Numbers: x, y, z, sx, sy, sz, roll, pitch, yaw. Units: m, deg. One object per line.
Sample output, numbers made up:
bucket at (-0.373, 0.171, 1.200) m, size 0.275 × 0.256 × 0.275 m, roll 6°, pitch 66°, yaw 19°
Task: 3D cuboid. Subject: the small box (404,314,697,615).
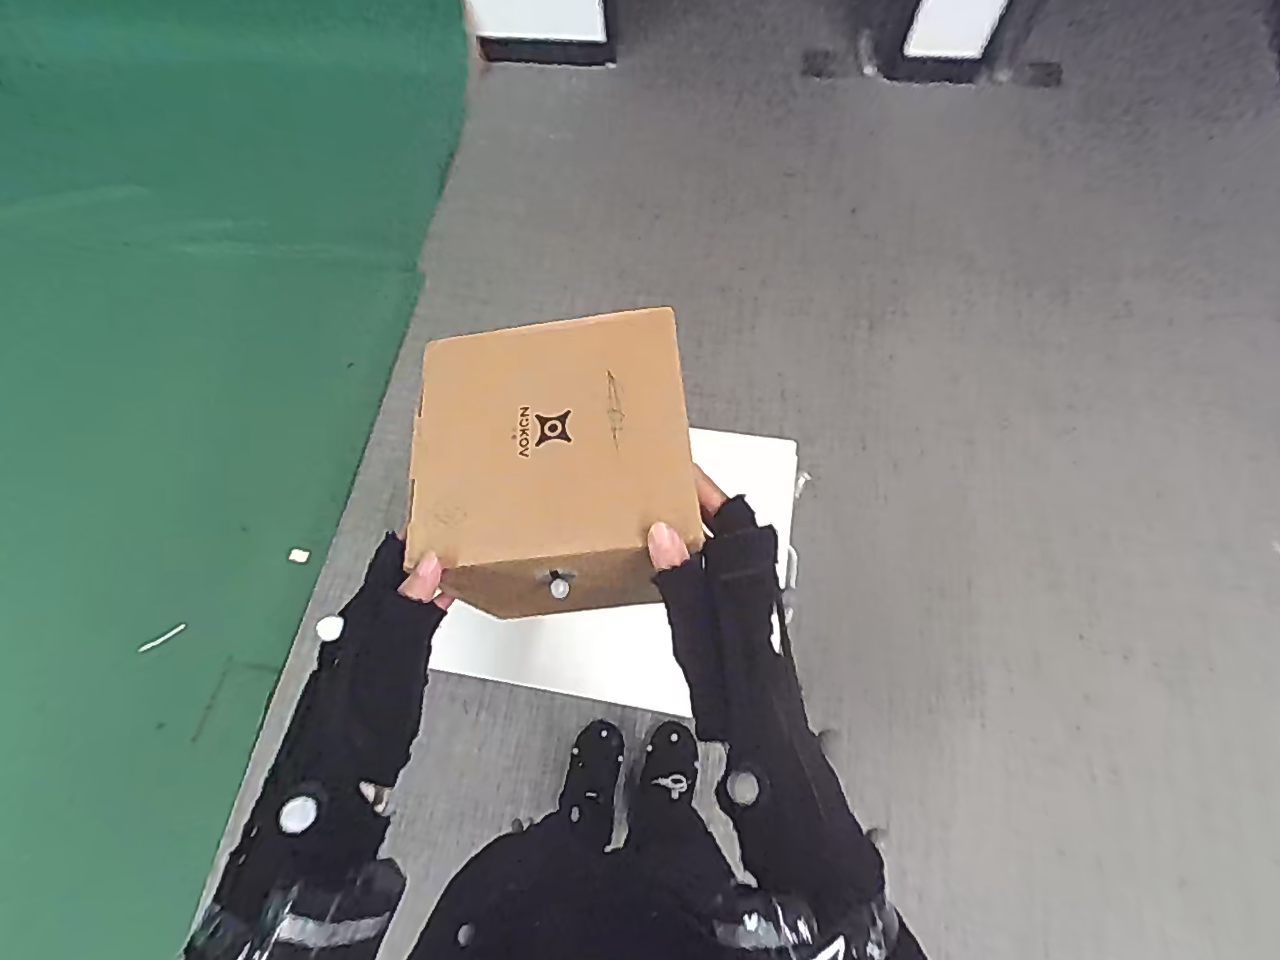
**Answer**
small box at (-0.052, 0.002, 0.416) m, size 0.179 × 0.176 × 0.168 m, roll -7°, pitch 66°, yaw 2°
